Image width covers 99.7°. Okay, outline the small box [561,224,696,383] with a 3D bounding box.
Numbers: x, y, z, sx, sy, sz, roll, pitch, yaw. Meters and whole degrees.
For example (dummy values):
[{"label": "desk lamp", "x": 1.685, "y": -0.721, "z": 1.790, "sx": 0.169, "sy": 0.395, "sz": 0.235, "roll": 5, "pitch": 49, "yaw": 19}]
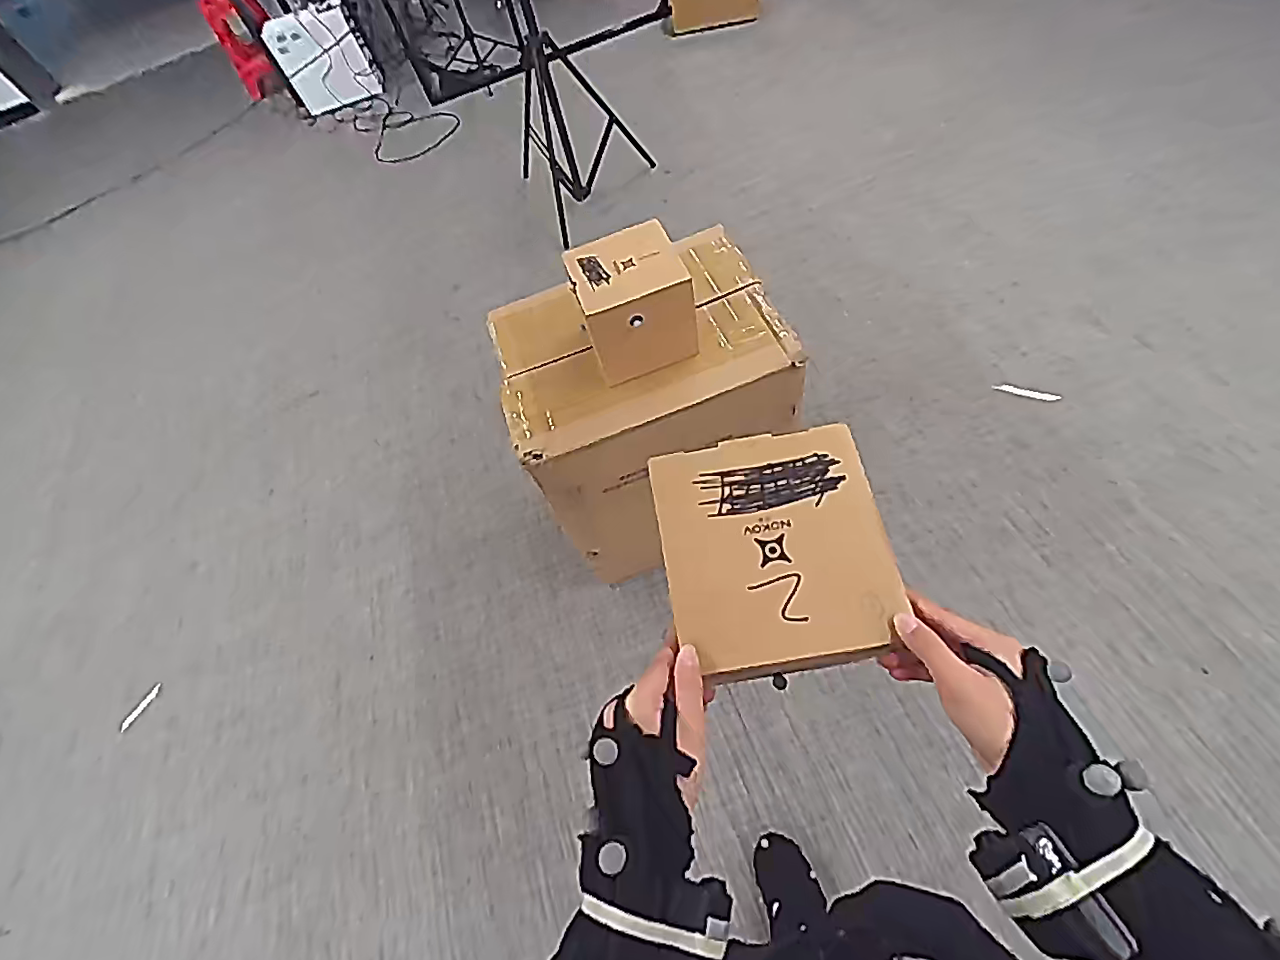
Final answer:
[{"label": "small box", "x": -0.014, "y": -0.296, "z": 0.929, "sx": 0.179, "sy": 0.176, "sz": 0.168, "roll": -21, "pitch": 59, "yaw": -1}]
